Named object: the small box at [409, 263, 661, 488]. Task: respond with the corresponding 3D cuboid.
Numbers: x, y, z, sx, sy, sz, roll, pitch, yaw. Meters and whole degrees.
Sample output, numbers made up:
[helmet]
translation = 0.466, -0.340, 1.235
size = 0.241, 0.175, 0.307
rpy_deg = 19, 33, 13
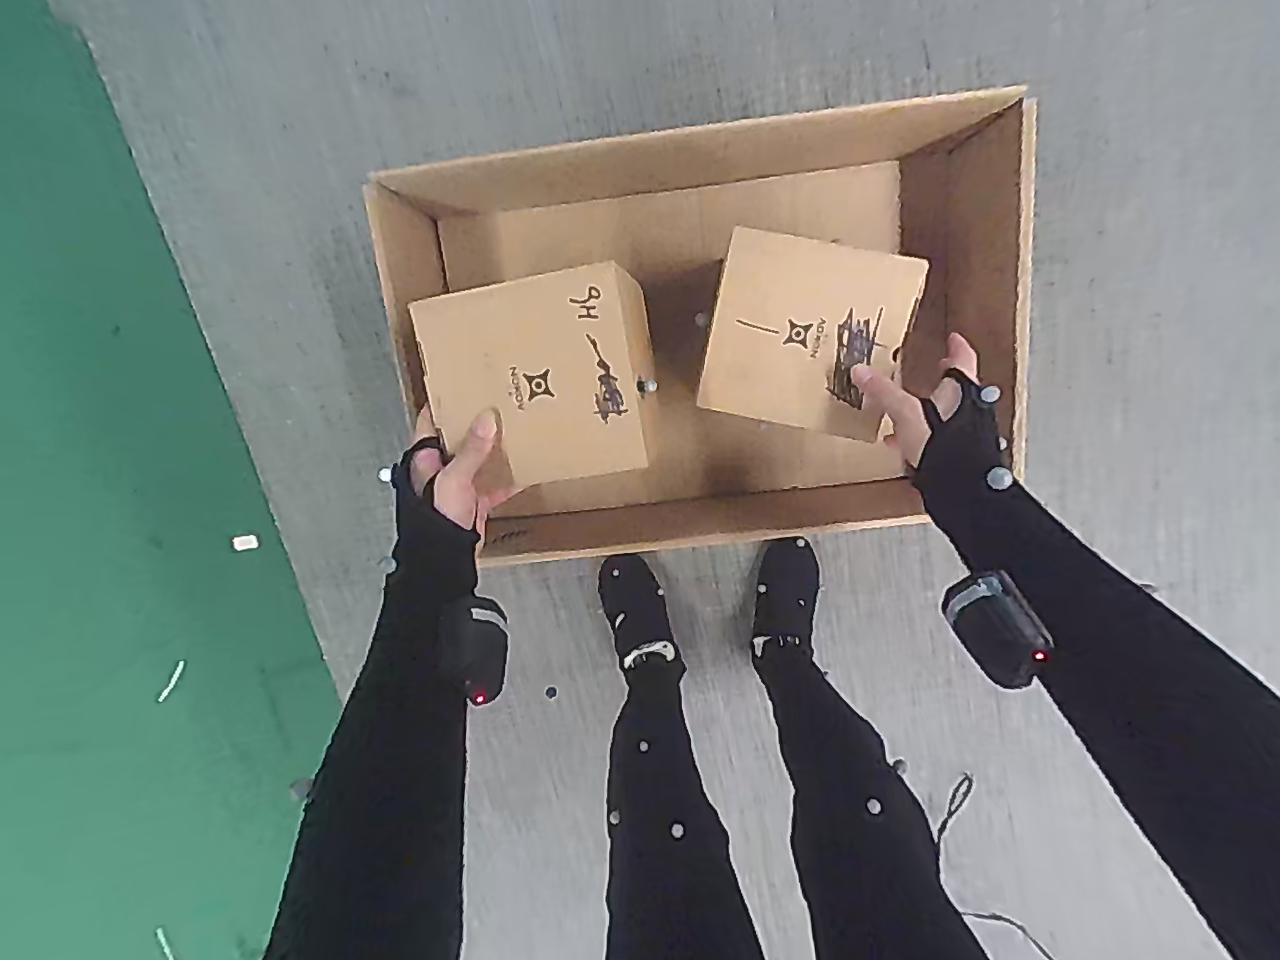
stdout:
[small box]
translation = -0.085, -0.097, 0.525
size = 0.179, 0.176, 0.168
rpy_deg = -8, 102, 10
